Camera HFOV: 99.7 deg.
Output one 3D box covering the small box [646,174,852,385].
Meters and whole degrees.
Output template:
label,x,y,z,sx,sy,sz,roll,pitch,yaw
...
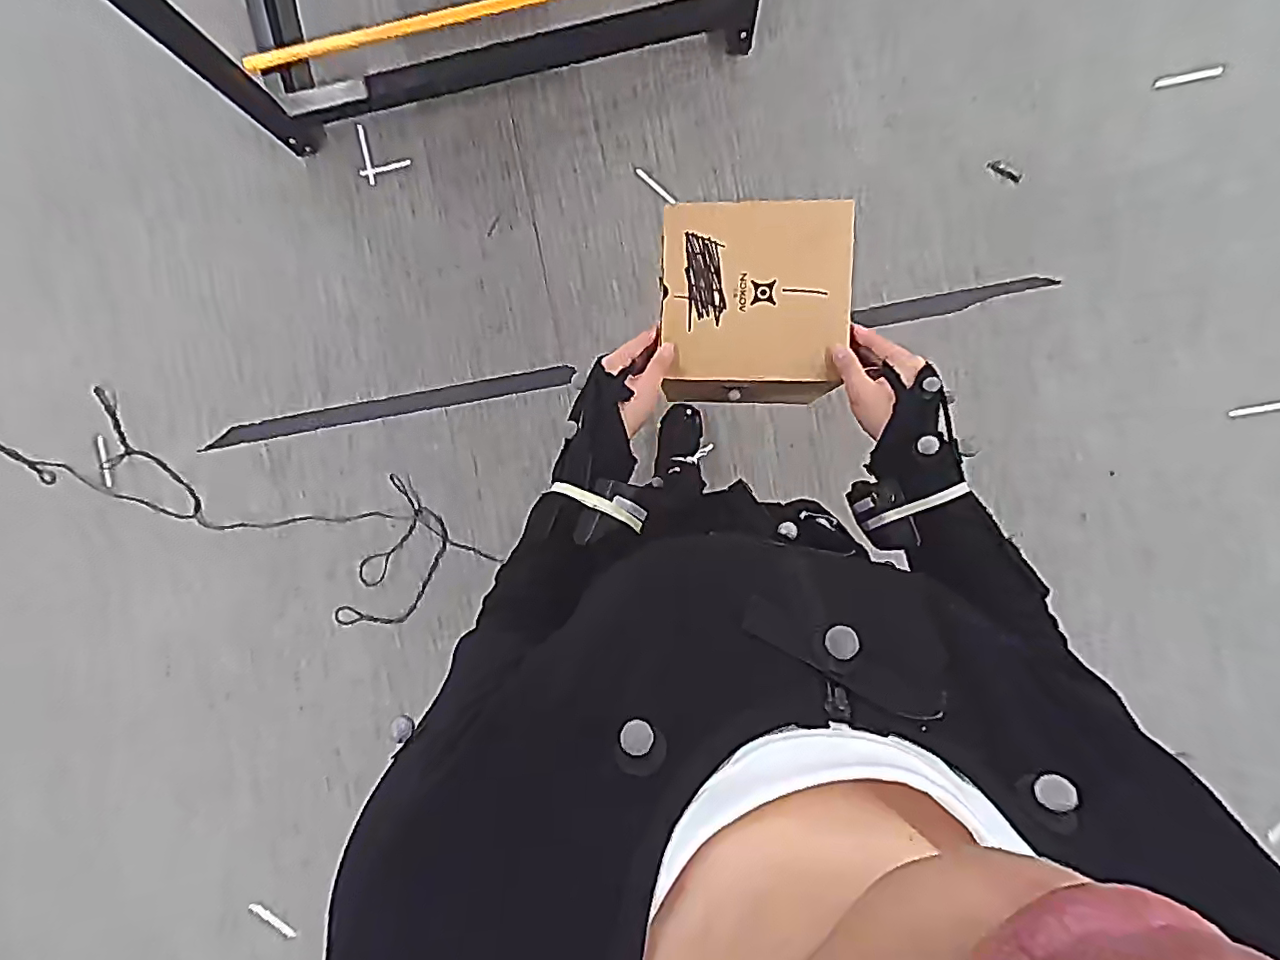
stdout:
label,x,y,z,sx,sy,sz,roll,pitch,yaw
small box,0.104,-0.192,0.562,0.179,0.176,0.168,2,93,5
